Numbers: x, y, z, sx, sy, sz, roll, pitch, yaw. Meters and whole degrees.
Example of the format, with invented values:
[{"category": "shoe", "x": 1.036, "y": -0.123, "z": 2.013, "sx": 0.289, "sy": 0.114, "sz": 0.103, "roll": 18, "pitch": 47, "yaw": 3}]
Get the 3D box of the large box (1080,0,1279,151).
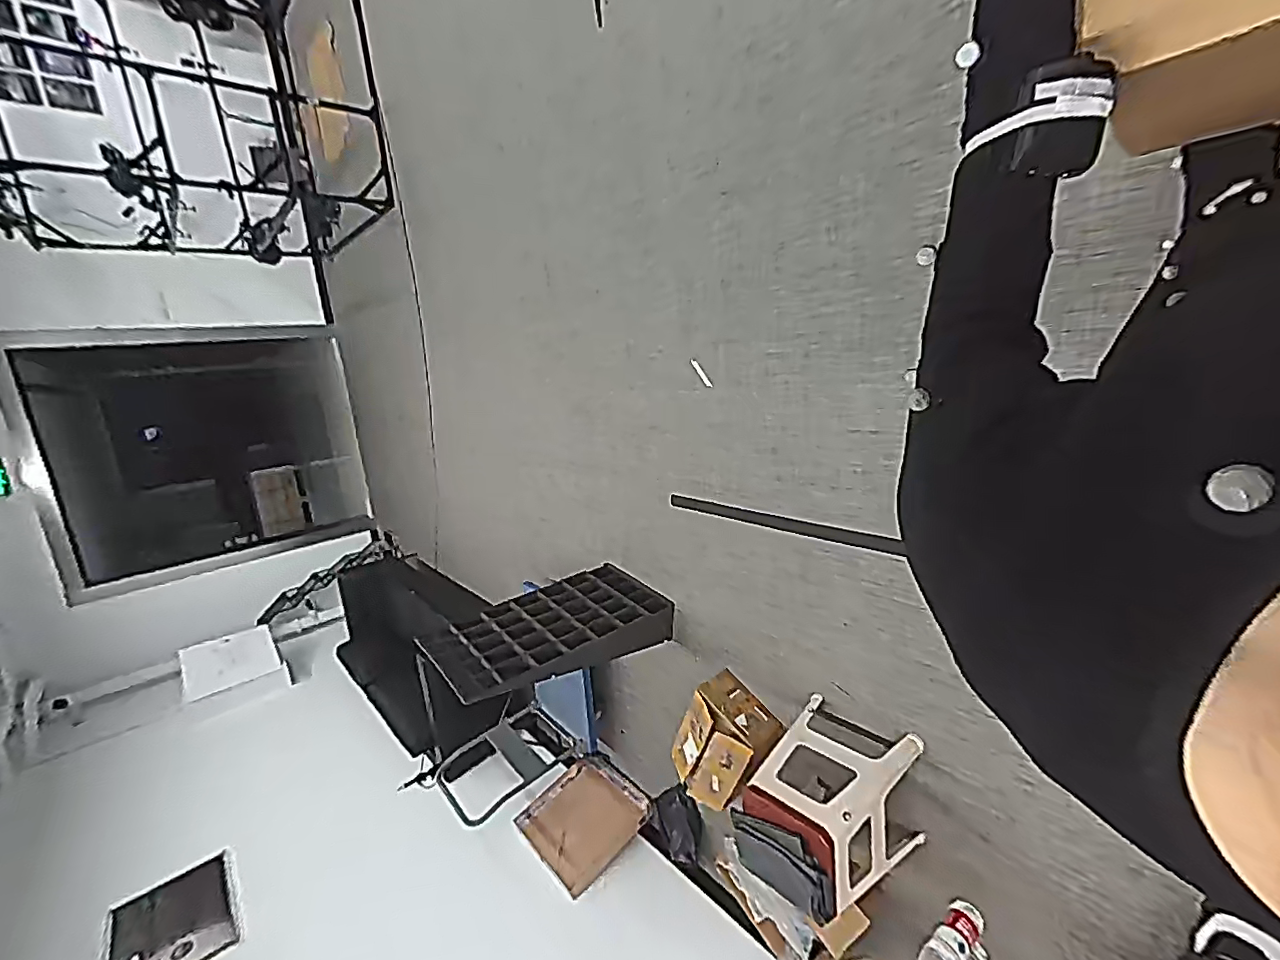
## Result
[{"category": "large box", "x": 0.537, "y": -0.454, "z": 0.315, "sx": 0.408, "sy": 0.320, "sz": 0.320, "roll": 6, "pitch": 109, "yaw": 46}]
